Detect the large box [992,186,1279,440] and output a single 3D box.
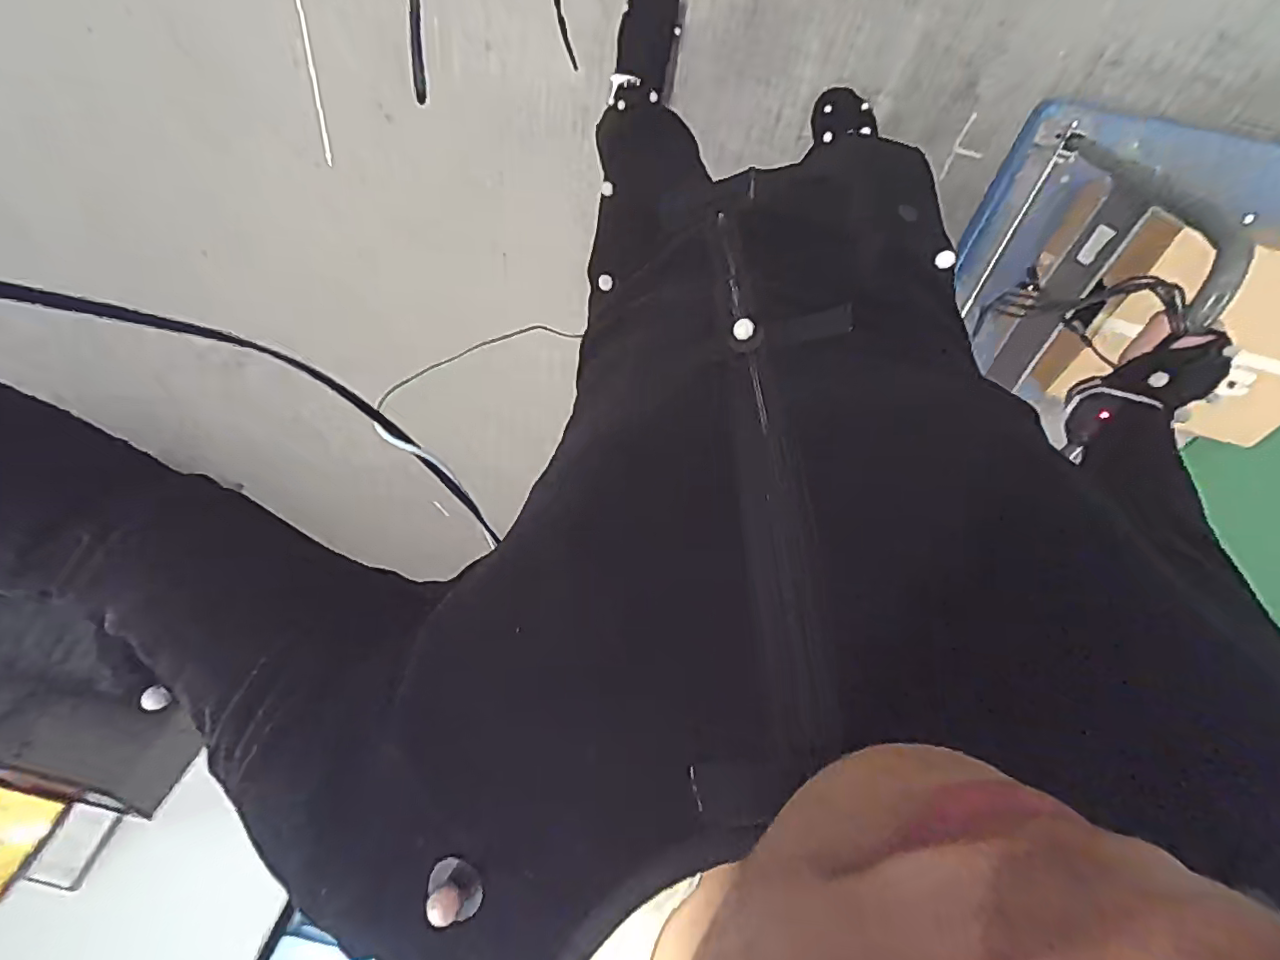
[{"bbox_3d":[0.999,-0.327,1.039,0.408,0.320,0.320,14,133,0],"label":"large box"}]
